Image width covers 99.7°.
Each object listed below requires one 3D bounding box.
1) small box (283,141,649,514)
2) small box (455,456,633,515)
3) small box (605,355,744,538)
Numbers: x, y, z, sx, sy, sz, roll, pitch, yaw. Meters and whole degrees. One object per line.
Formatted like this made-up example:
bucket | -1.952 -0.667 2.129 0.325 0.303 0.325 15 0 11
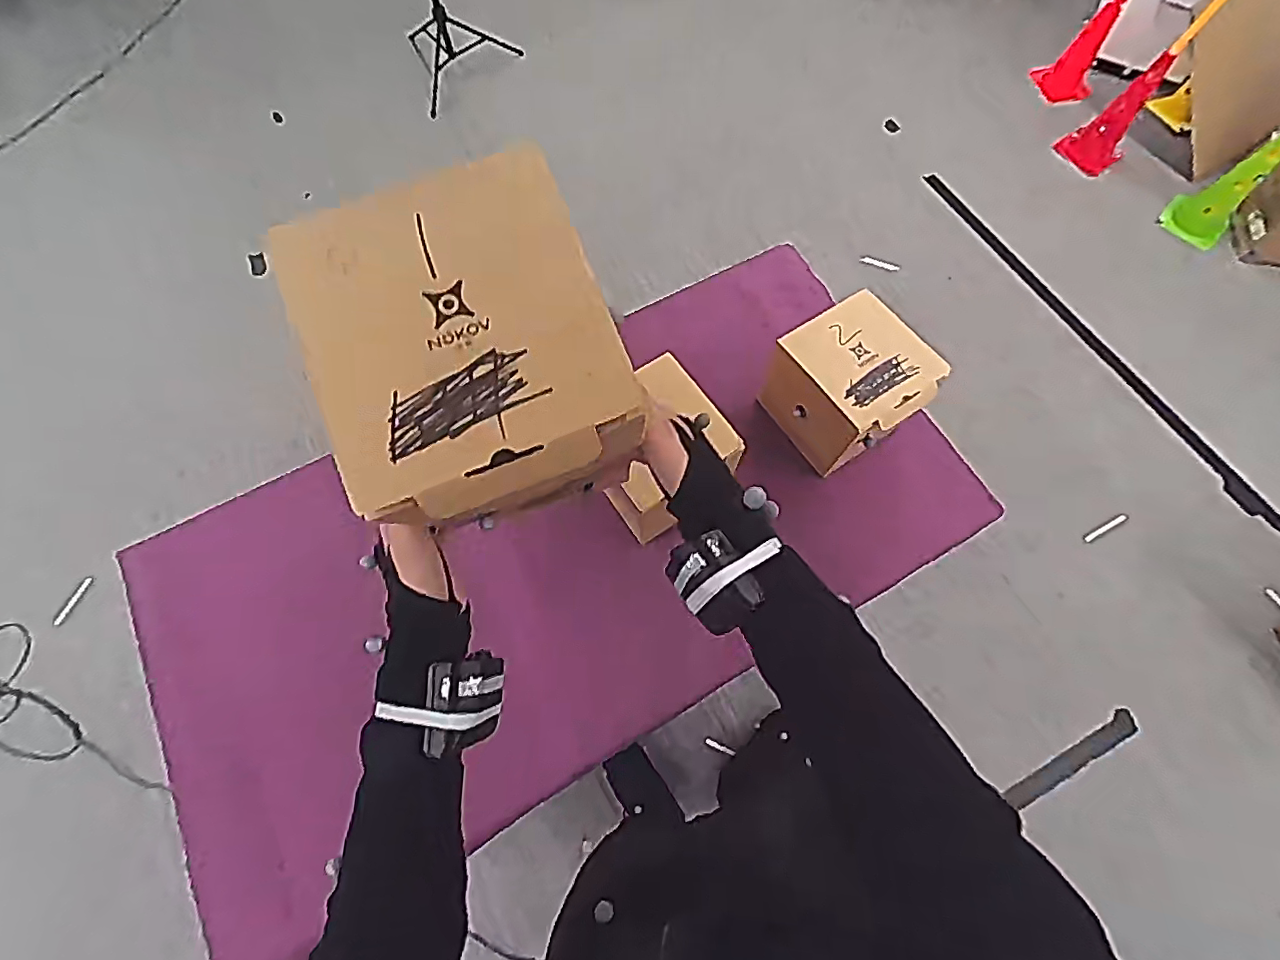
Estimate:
small box | -0.099 -0.082 0.382 0.168 0.176 0.179 -21 84 -4
small box | -0.106 -0.068 0.545 0.168 0.176 0.179 -18 84 -3
small box | 0.023 -0.040 0.789 0.168 0.176 0.179 -32 73 -10
